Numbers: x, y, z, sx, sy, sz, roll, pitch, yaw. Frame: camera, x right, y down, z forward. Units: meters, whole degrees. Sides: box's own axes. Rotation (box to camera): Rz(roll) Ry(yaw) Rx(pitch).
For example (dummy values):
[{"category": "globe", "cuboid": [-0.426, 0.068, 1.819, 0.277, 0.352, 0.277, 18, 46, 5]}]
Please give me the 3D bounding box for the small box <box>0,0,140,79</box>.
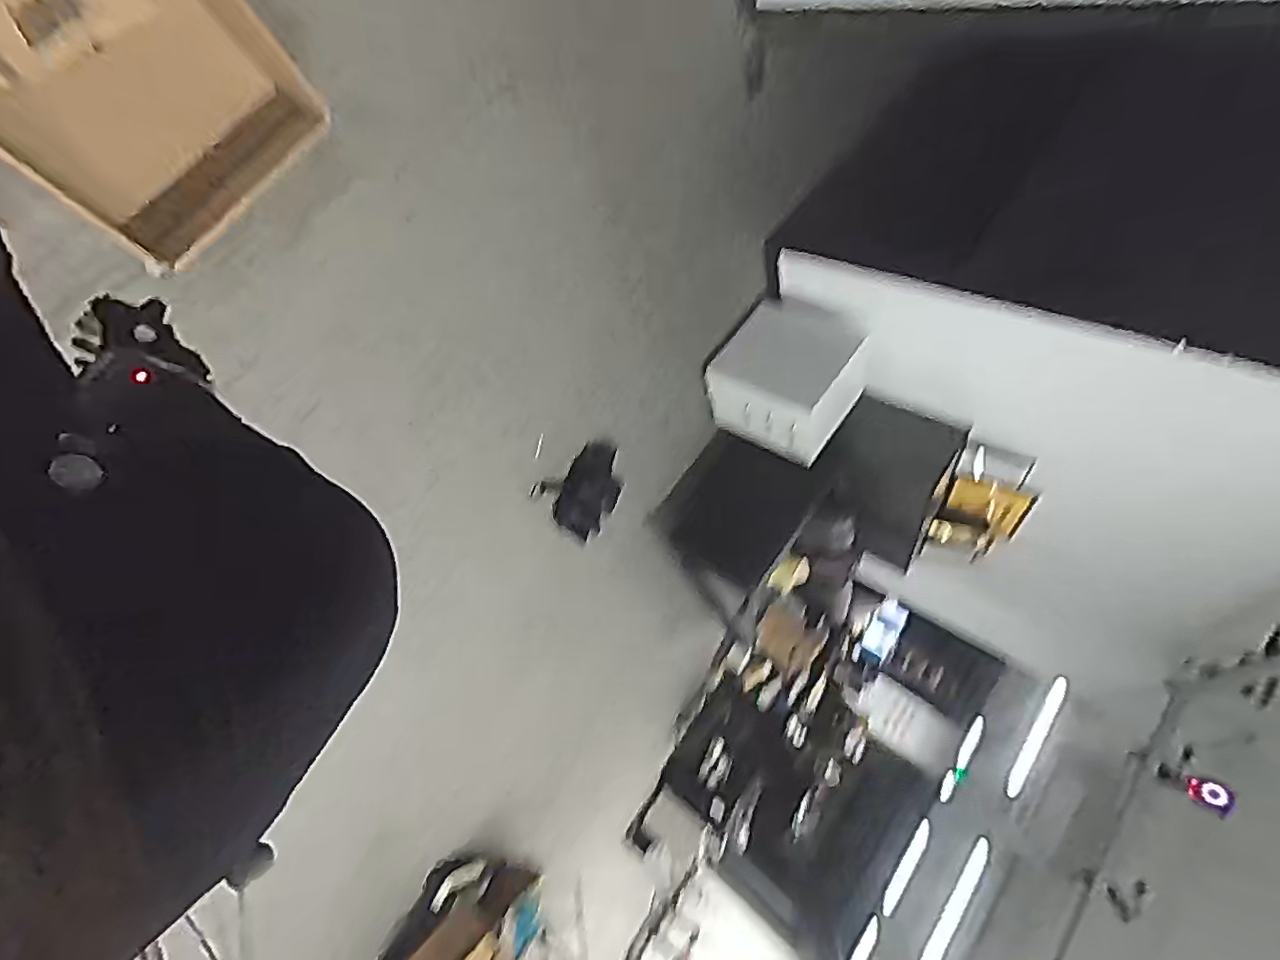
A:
[{"category": "small box", "cuboid": [-0.703, -0.561, 0.568, 0.168, 0.176, 0.179, -50, 148, -20]}]
